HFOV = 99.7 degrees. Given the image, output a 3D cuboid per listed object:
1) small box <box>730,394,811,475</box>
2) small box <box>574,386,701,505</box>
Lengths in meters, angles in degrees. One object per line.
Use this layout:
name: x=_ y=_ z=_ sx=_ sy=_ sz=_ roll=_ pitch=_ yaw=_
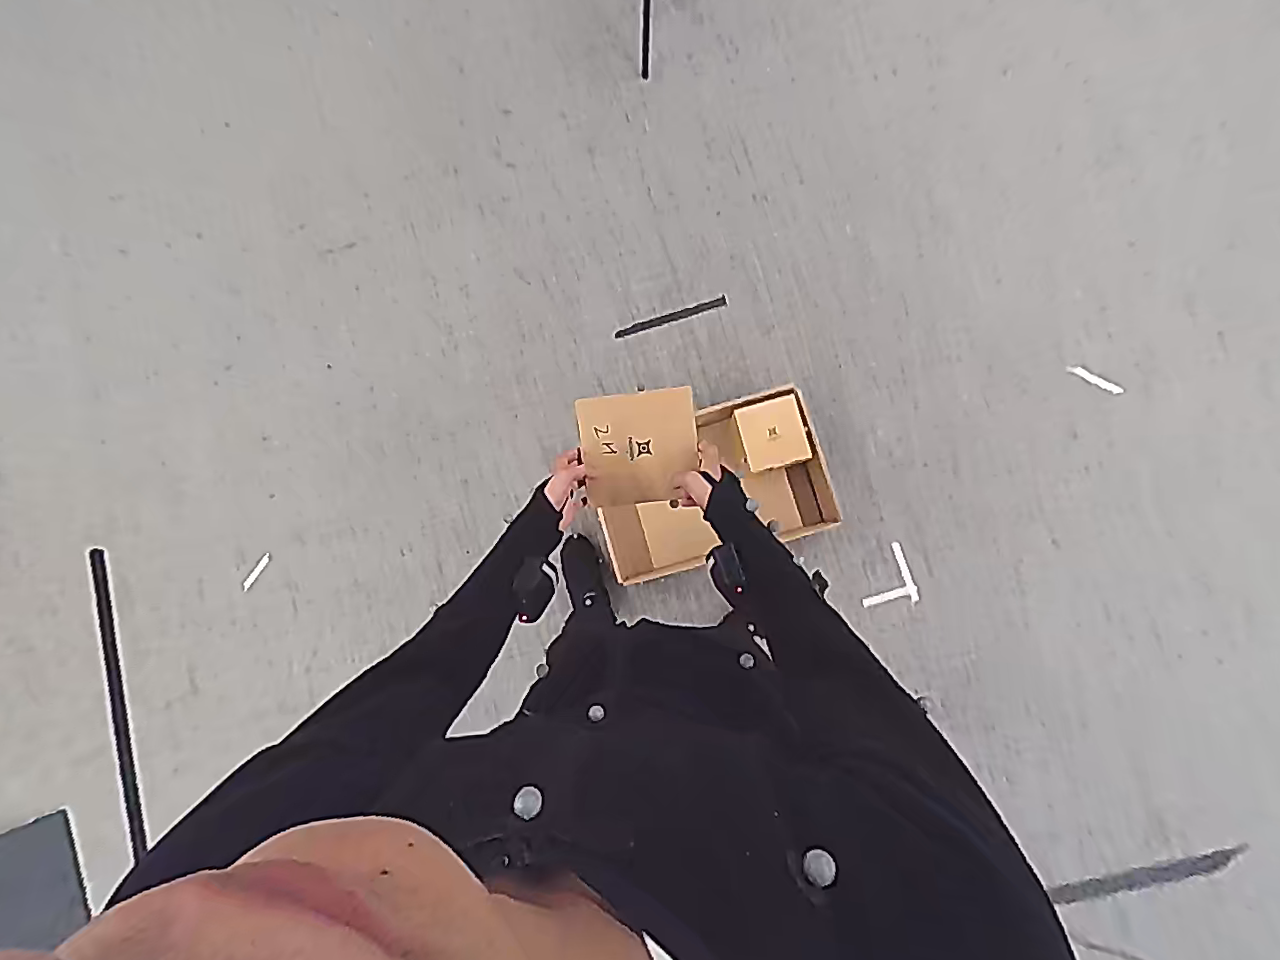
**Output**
small box: x=0.353 y=-0.120 z=1.498 sx=0.168 sy=0.176 sz=0.179 roll=-15 pitch=86 yaw=4
small box: x=0.002 y=-0.058 z=0.873 sx=0.179 sy=0.176 sz=0.168 roll=-6 pitch=94 yaw=6
